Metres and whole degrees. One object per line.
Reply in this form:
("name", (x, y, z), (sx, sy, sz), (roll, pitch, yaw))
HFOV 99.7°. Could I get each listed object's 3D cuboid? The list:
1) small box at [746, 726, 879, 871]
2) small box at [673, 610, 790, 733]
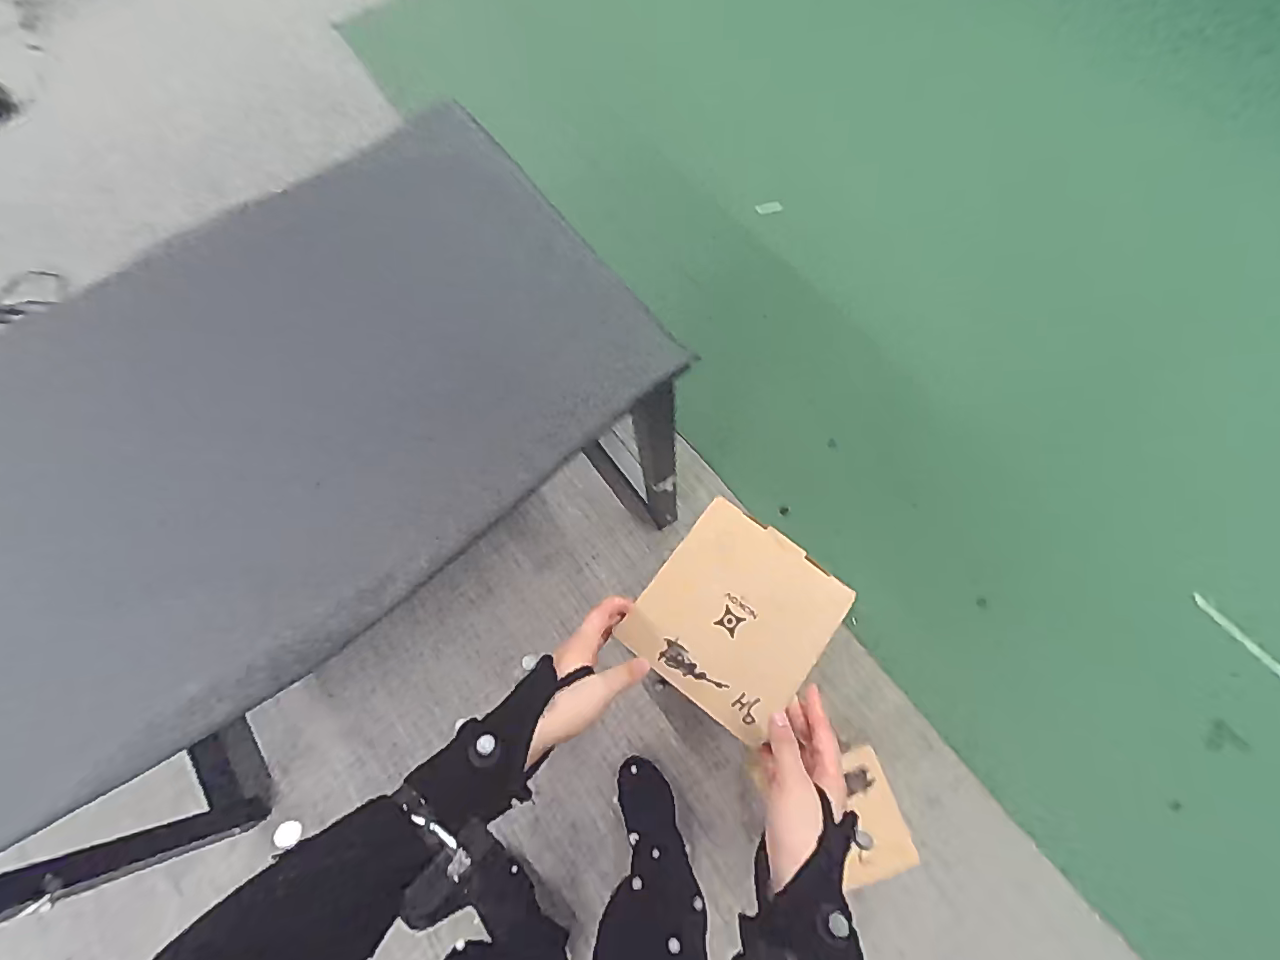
("small box", (0.327, 0.610, 1.062), (0.168, 0.176, 0.179), (-27, 71, -5))
("small box", (0.188, 0.401, 1.147), (0.168, 0.176, 0.179), (-37, 71, -9))
